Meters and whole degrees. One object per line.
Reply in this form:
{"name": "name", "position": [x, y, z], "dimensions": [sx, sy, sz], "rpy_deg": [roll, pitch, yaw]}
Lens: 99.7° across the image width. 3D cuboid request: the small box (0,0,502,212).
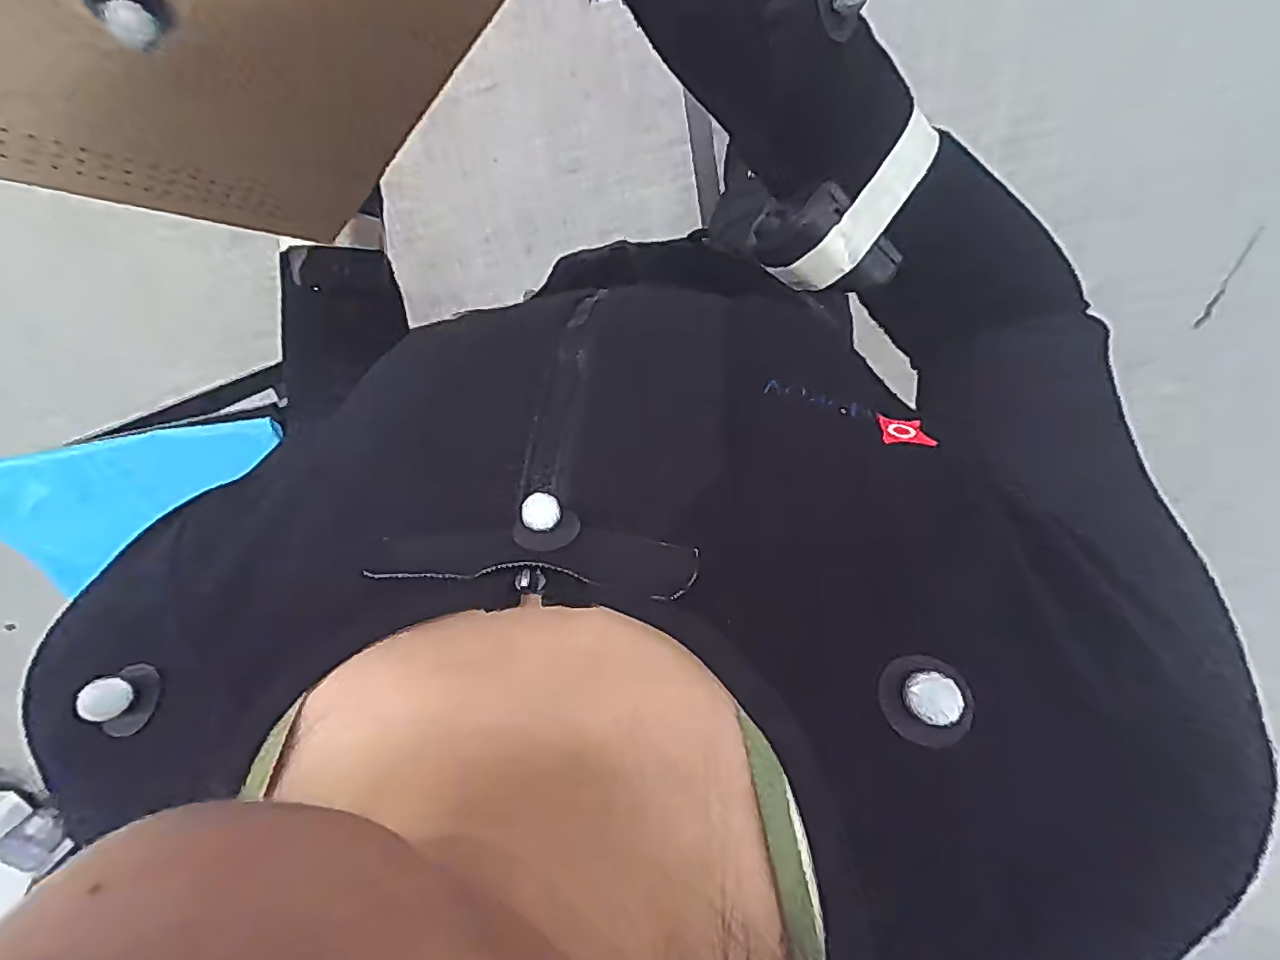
{"name": "small box", "position": [-0.175, -0.222, 0.178], "dimensions": [0.176, 0.179, 0.168], "rpy_deg": [-24, 84, 38]}
